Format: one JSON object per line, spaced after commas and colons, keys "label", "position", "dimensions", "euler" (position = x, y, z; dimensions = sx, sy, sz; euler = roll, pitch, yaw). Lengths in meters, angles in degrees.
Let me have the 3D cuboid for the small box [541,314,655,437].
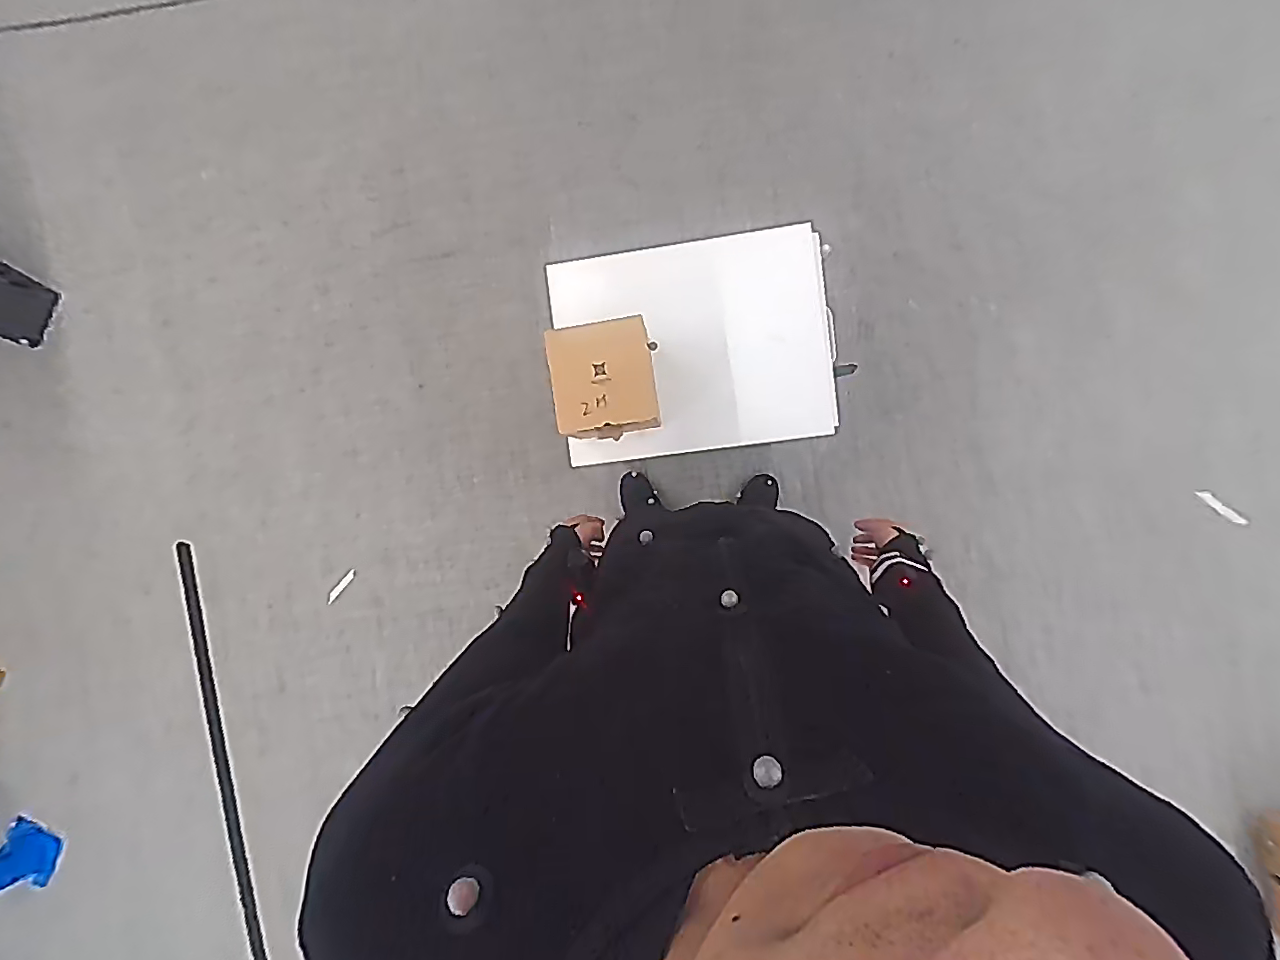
{"label": "small box", "position": [-0.066, -0.176, 0.958], "dimensions": [0.168, 0.176, 0.179], "euler": [-8, 92, 5]}
